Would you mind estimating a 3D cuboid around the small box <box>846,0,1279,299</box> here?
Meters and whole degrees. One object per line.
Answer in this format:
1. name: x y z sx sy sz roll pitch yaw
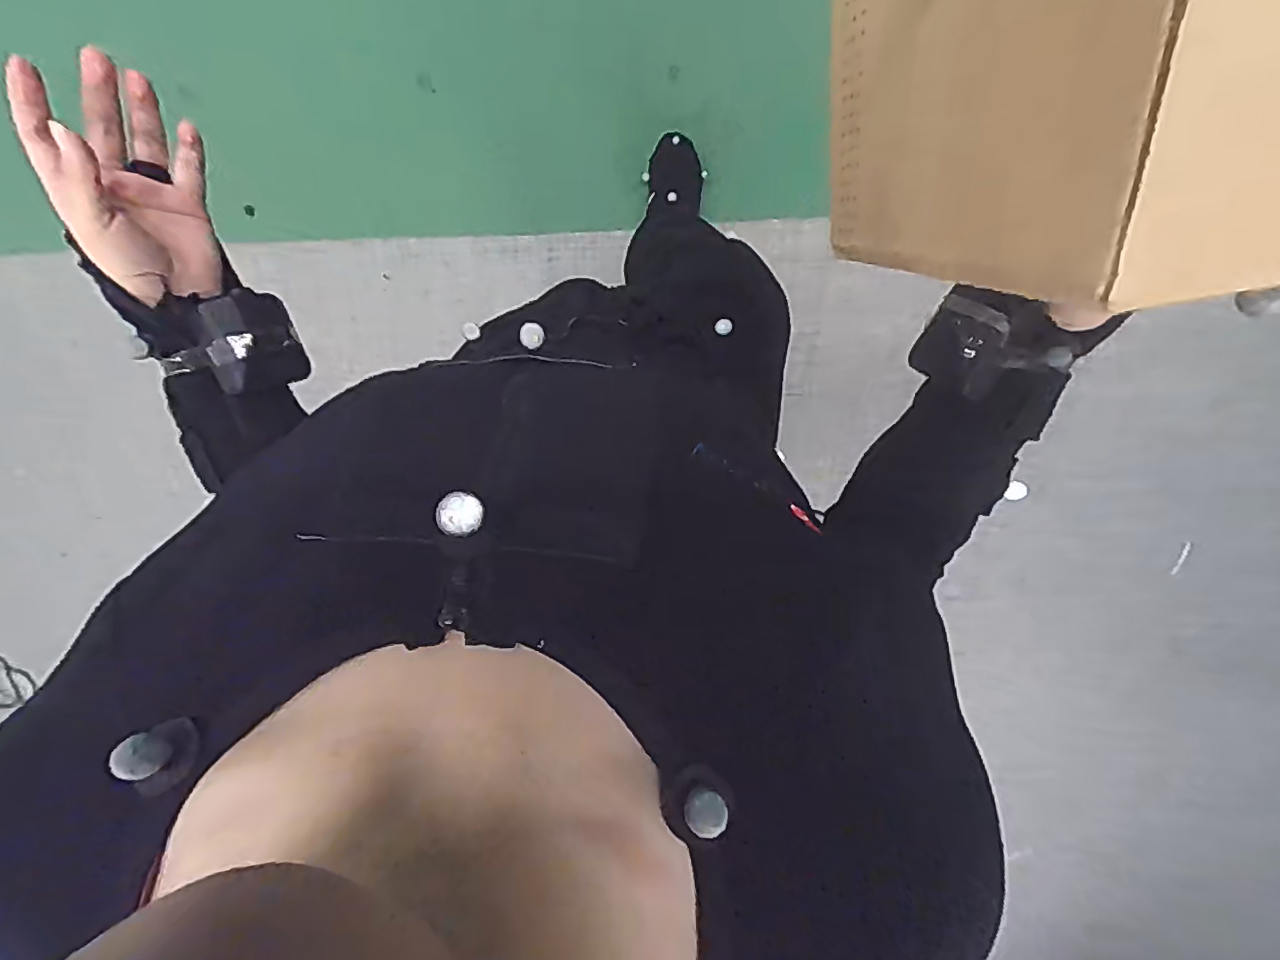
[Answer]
1. small box: 0.176 -0.167 0.168 0.168 0.176 0.179 -10 116 2
